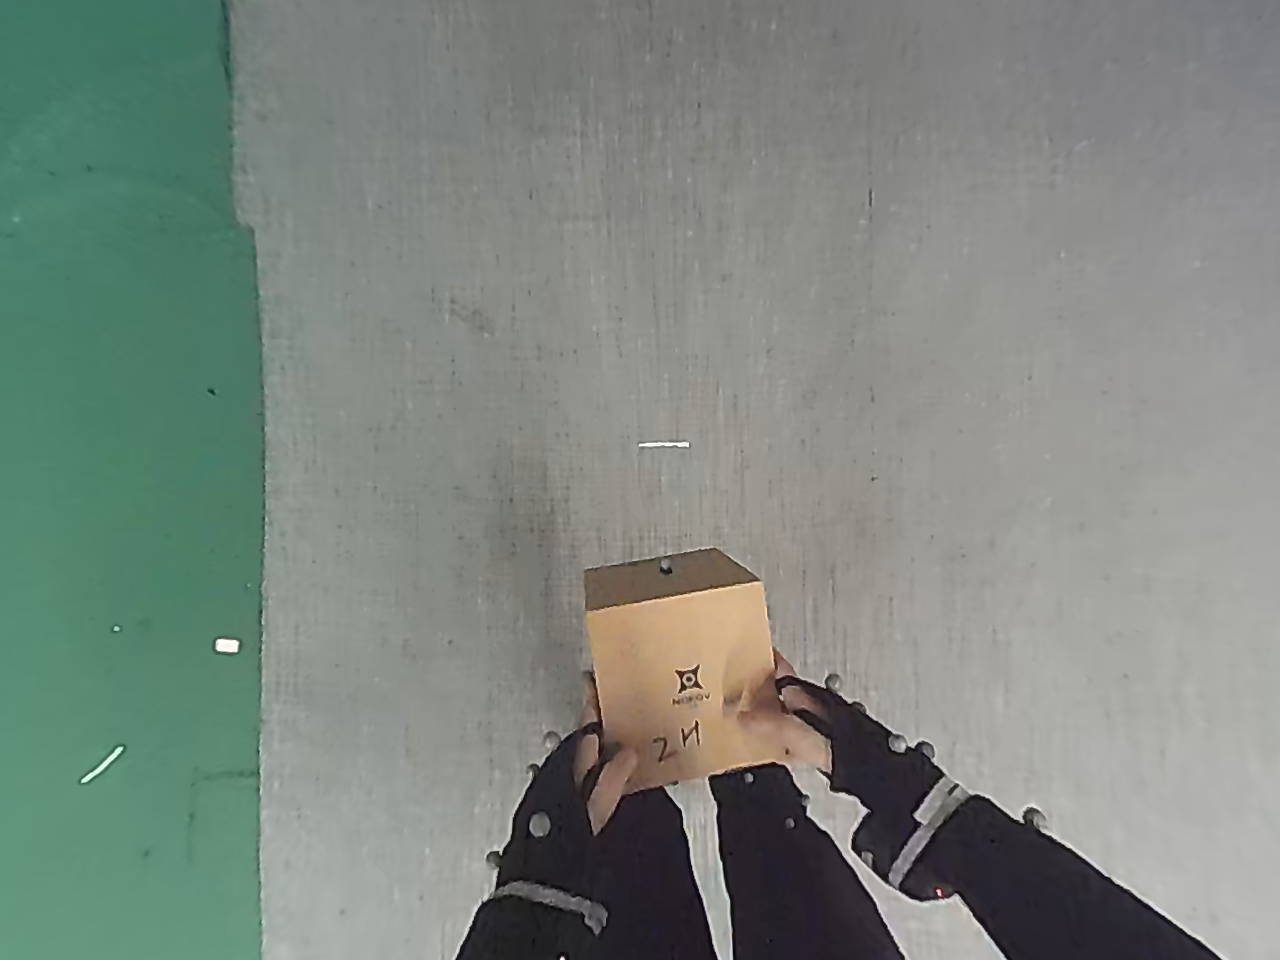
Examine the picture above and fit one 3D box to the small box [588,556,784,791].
[{"bbox_3d":[0.037,0.184,0.575,0.168,0.176,0.179,-8,95,-5],"label":"small box"}]
